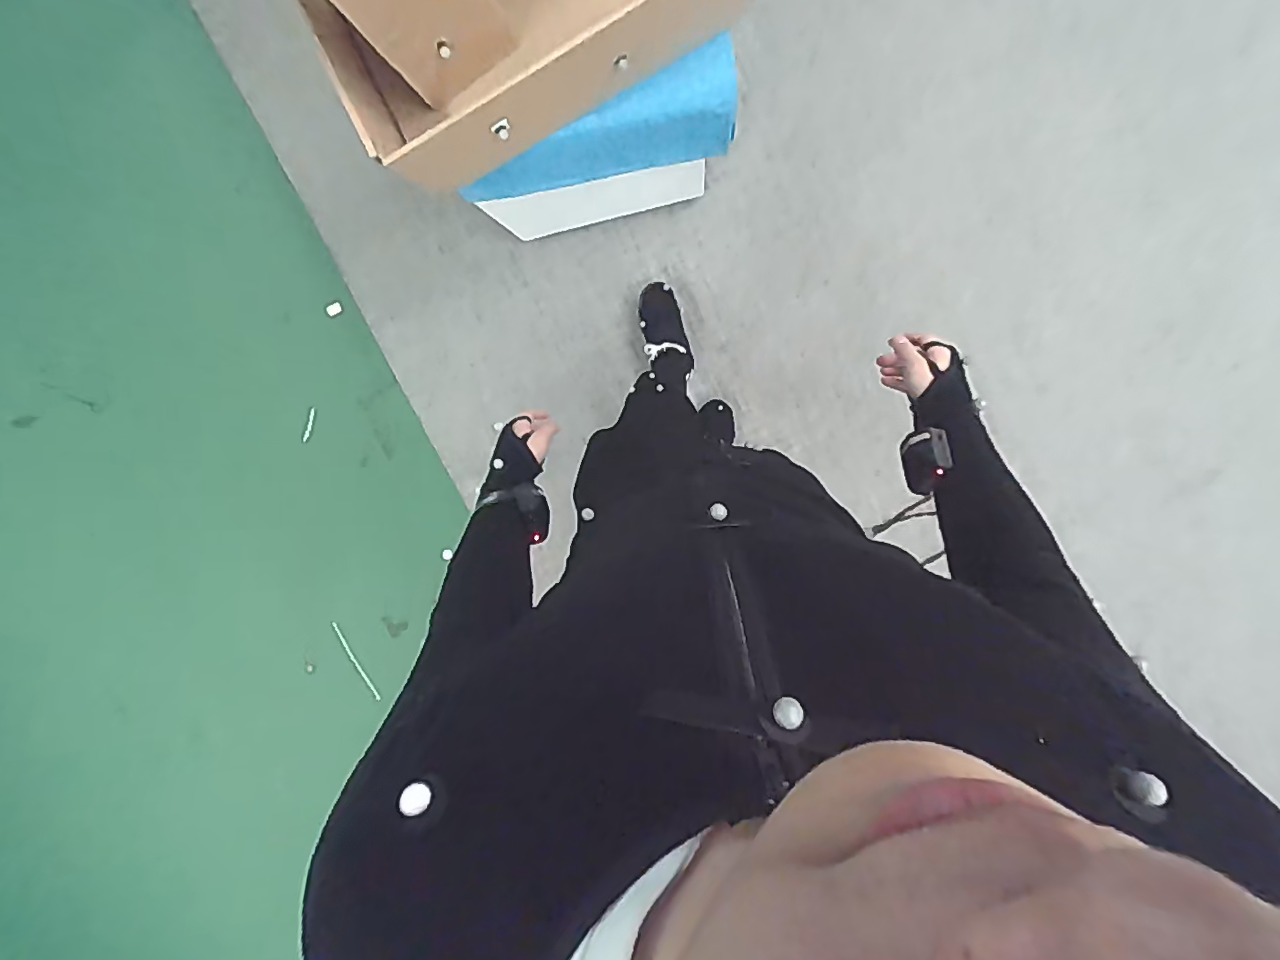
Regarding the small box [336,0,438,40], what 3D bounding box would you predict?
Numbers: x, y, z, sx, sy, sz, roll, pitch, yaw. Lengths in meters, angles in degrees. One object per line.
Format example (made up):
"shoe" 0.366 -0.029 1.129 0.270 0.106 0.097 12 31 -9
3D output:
"small box" -0.325 -0.671 0.621 0.179 0.176 0.168 -30 96 10
